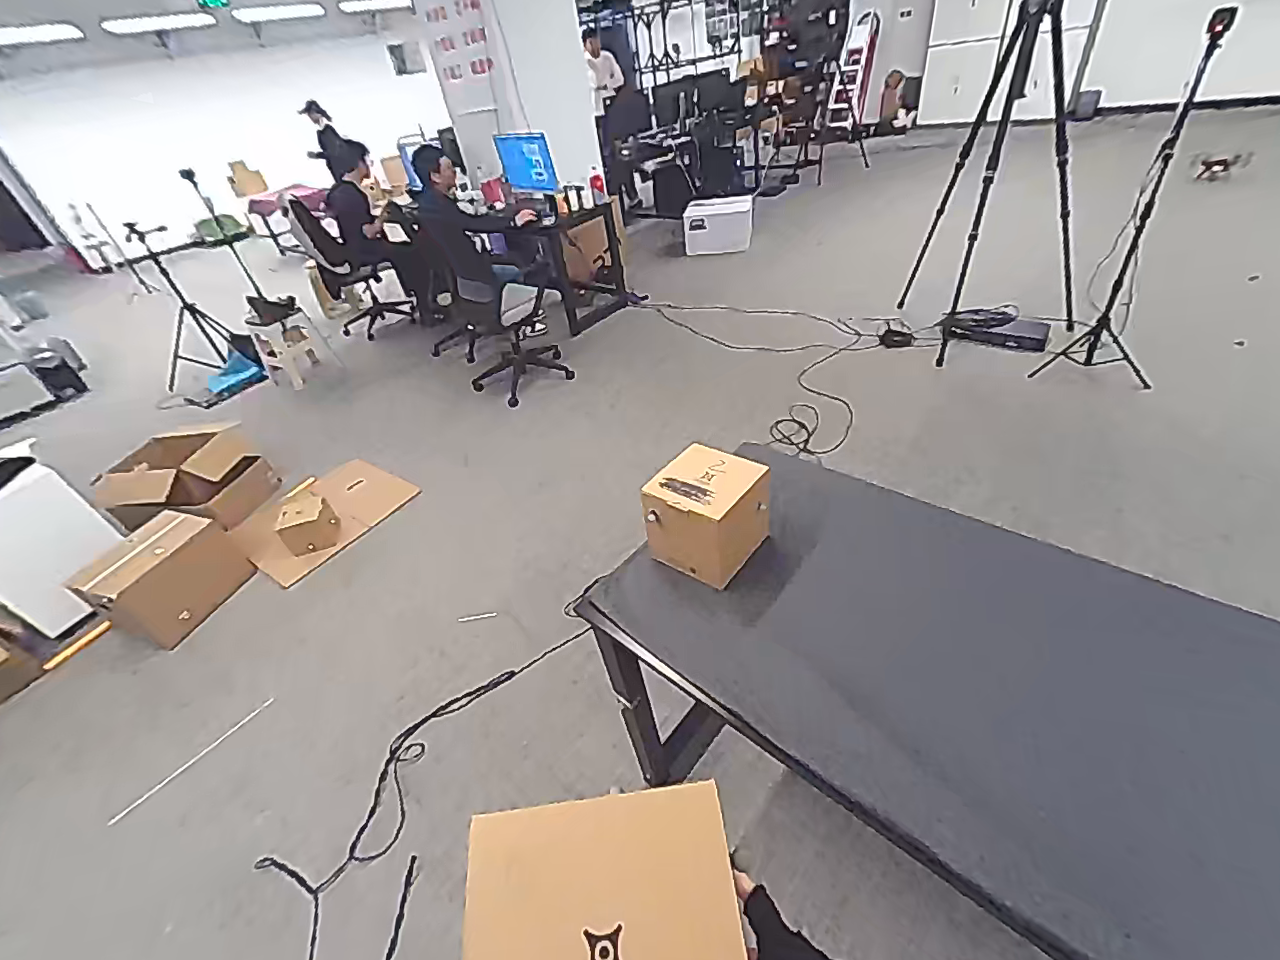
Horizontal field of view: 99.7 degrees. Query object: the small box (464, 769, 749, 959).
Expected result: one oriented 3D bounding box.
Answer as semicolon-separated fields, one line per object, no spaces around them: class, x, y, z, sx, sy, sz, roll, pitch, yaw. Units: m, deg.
small box;-0.014;0.321;0.375;0.168;0.176;0.179;-9;53;0
